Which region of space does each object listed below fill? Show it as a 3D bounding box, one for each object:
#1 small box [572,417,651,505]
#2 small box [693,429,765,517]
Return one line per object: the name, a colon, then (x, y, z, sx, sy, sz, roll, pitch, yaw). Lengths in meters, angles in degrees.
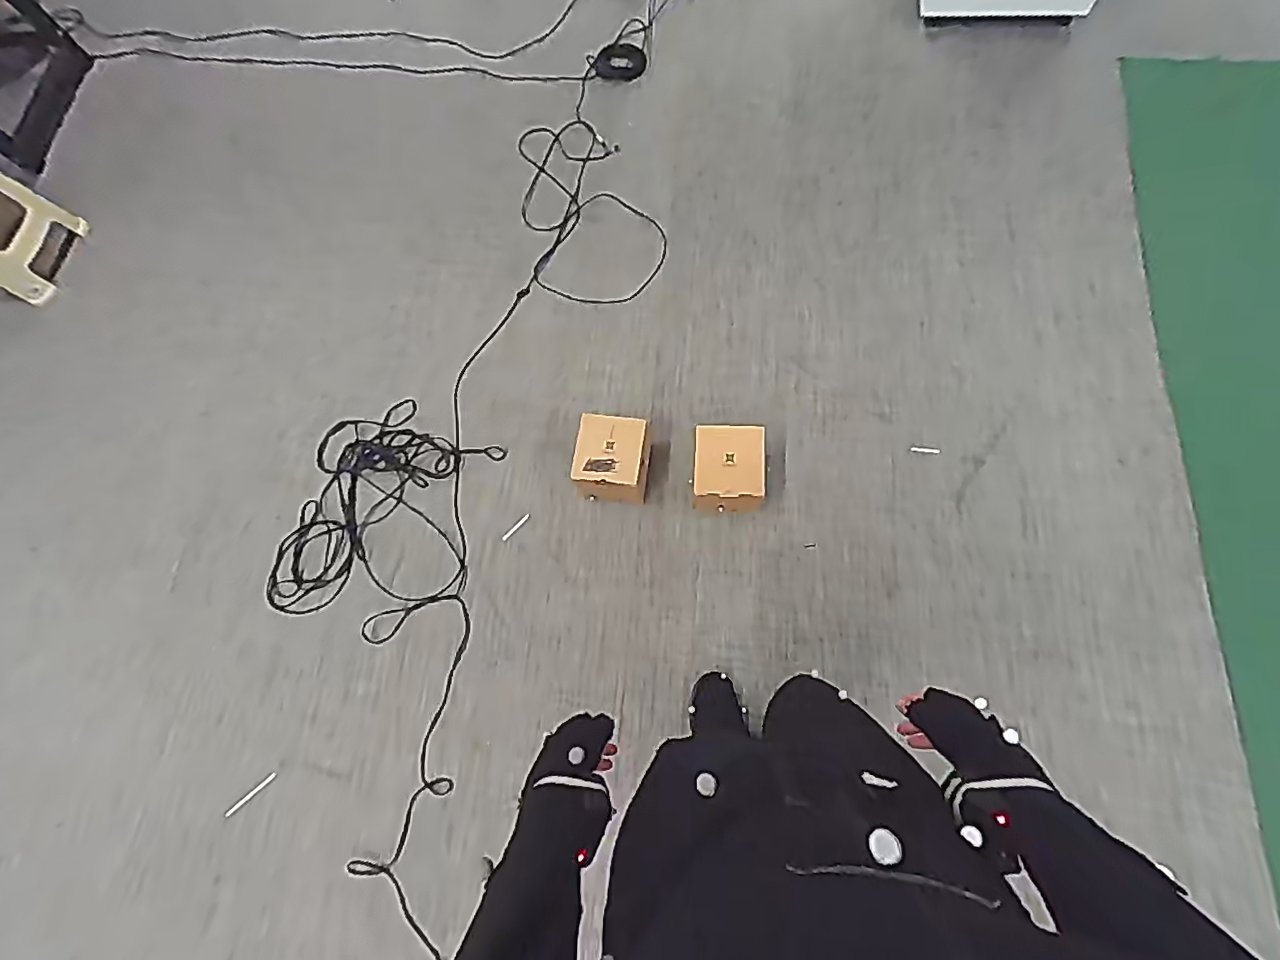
small box: (-0.066, -0.044, 1.399, 0.168, 0.176, 0.179, 7, 72, 7)
small box: (0.221, -0.014, 1.364, 0.168, 0.176, 0.179, 2, 73, 6)
